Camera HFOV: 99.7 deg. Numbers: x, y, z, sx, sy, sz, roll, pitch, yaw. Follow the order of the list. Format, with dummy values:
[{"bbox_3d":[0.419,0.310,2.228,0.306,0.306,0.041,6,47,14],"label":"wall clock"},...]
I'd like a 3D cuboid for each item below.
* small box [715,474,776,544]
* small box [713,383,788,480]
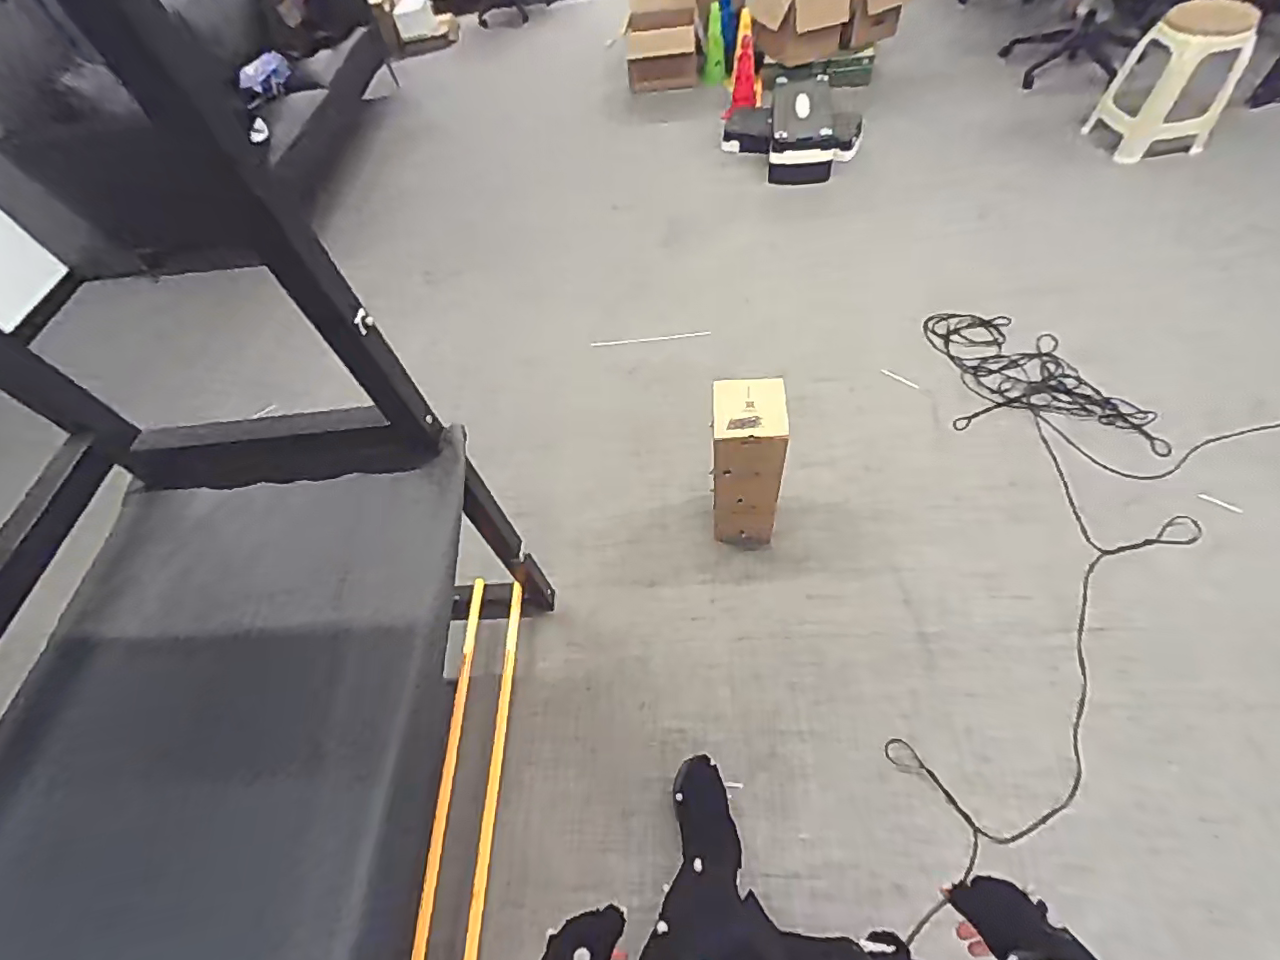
[{"bbox_3d":[0.304,0.069,1.573,0.168,0.176,0.179,1,58,10],"label":"small box"},{"bbox_3d":[0.261,-0.112,1.304,0.168,0.176,0.179,-1,56,8],"label":"small box"}]
